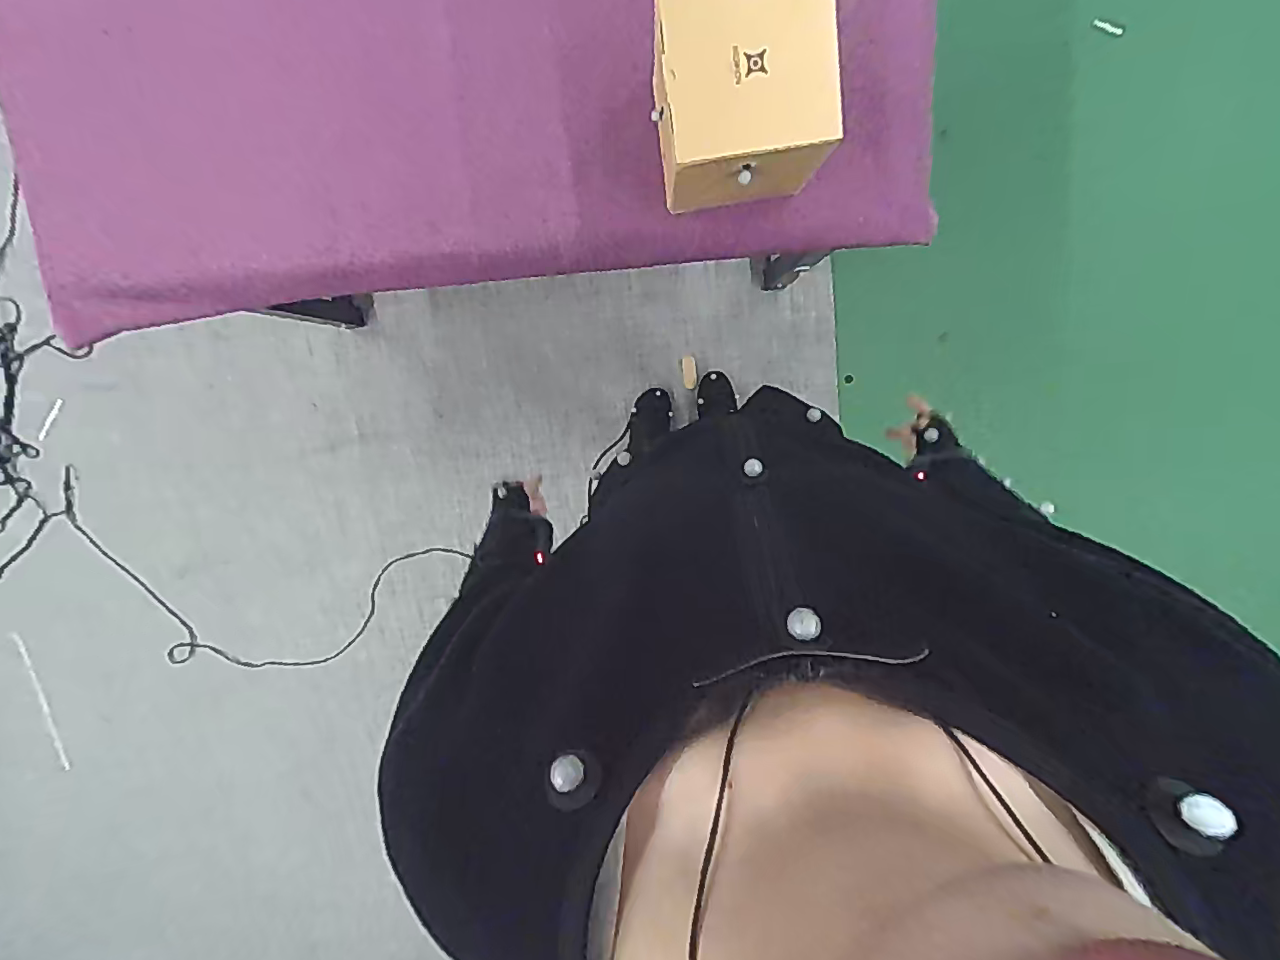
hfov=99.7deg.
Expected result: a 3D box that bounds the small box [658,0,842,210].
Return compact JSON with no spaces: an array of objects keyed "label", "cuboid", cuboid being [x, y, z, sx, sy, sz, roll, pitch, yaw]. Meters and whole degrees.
[{"label":"small box","cuboid":[0.115,-0.432,0.624,0.179,0.176,0.168,-7,101,4]}]

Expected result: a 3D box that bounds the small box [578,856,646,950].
[{"label":"small box","cuboid":[-0.080,1.262,1.612,0.179,0.176,0.168,-11,98,5]}]
